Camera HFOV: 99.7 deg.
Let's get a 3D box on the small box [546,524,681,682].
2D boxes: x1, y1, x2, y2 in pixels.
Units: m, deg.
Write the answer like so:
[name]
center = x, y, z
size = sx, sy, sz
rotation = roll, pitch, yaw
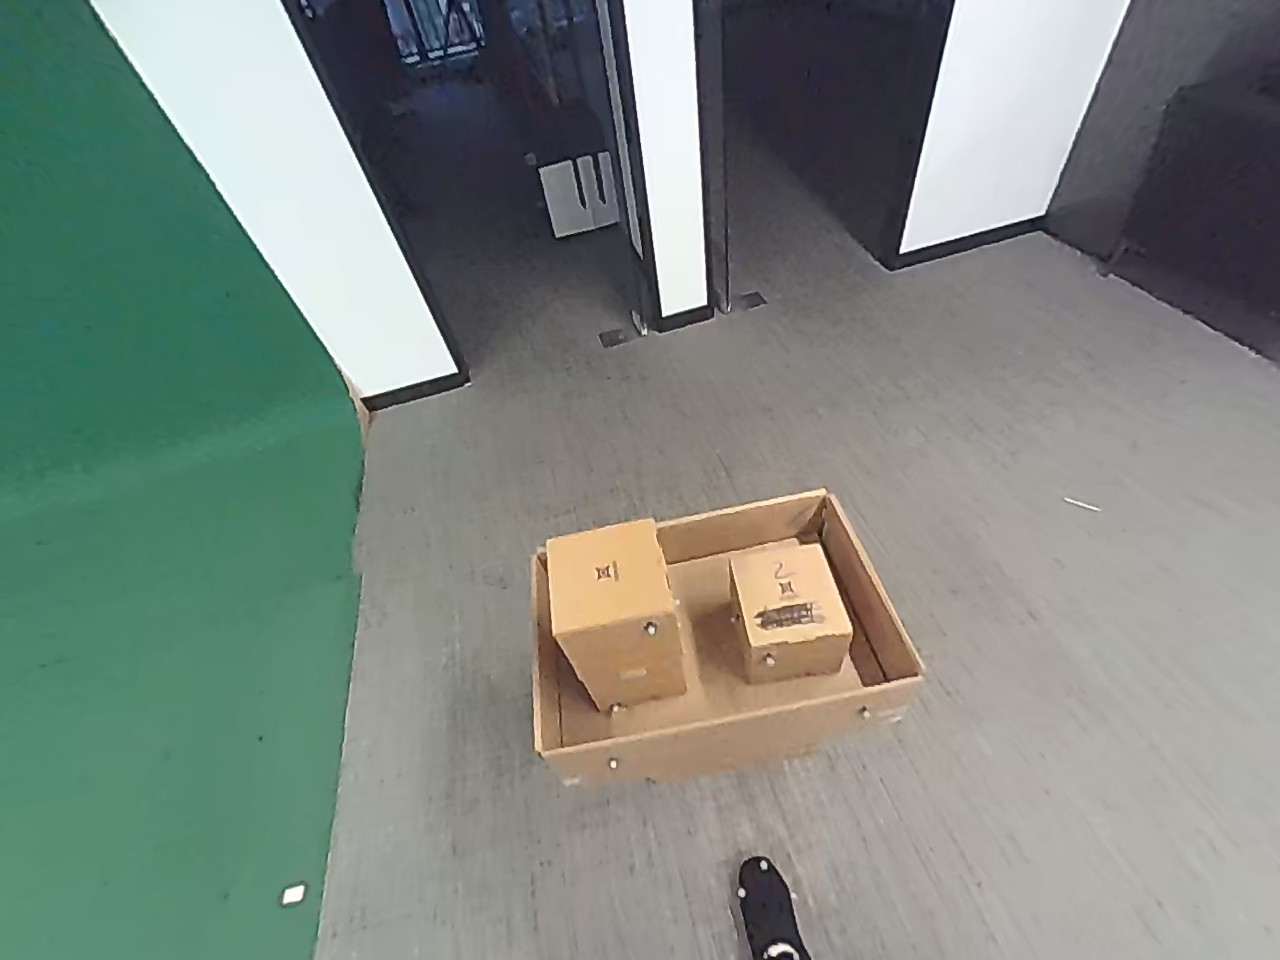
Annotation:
[small box]
center = -0.040, 0.199, 0.855
size = 0.179, 0.176, 0.168
rotation = -12, 48, -2
